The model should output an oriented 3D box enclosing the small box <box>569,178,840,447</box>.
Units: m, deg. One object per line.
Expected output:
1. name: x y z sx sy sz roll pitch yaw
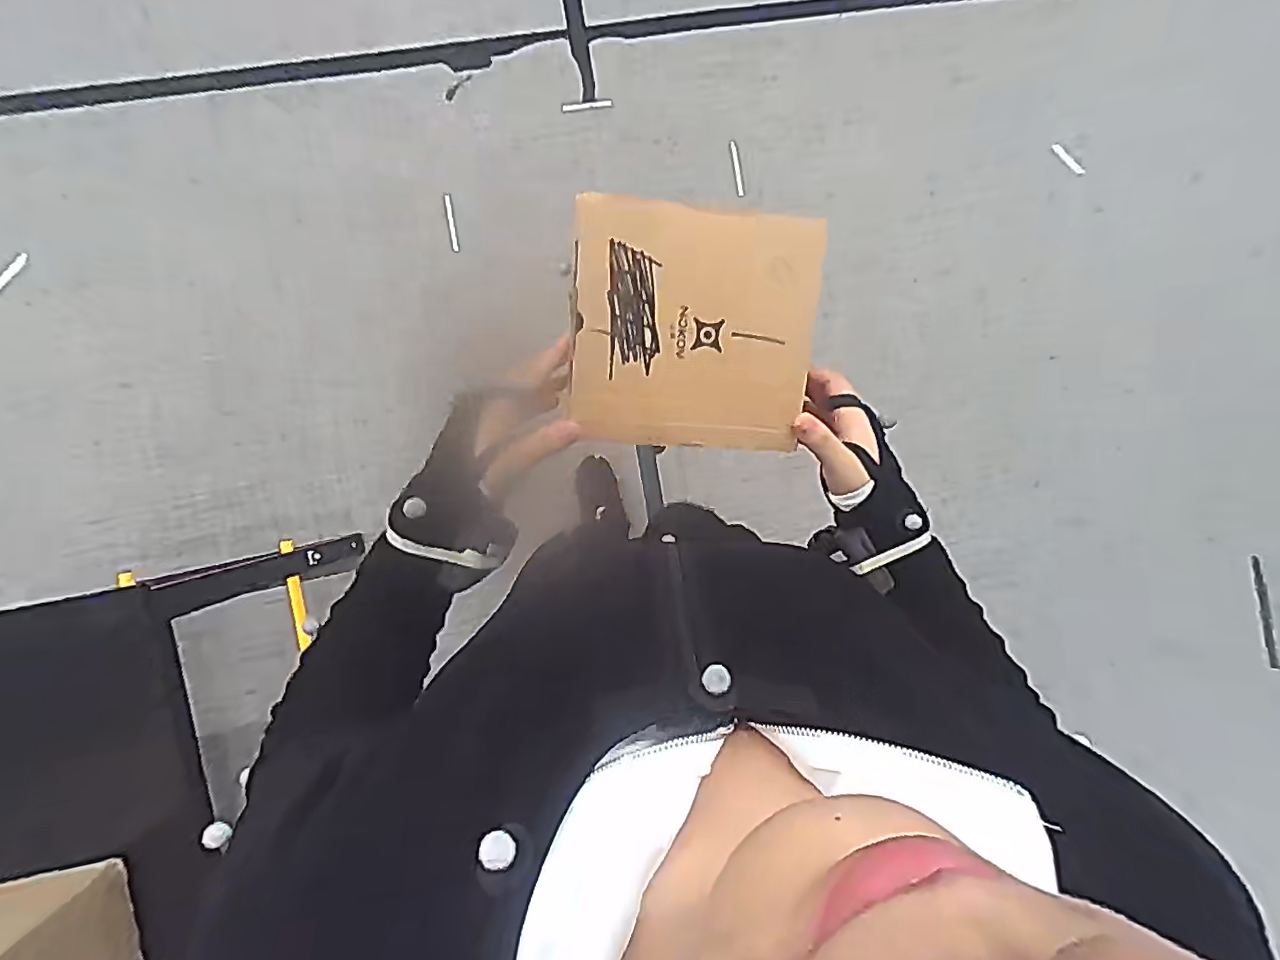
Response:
1. small box: 0.034 -0.128 0.449 0.179 0.176 0.168 3 105 -9
